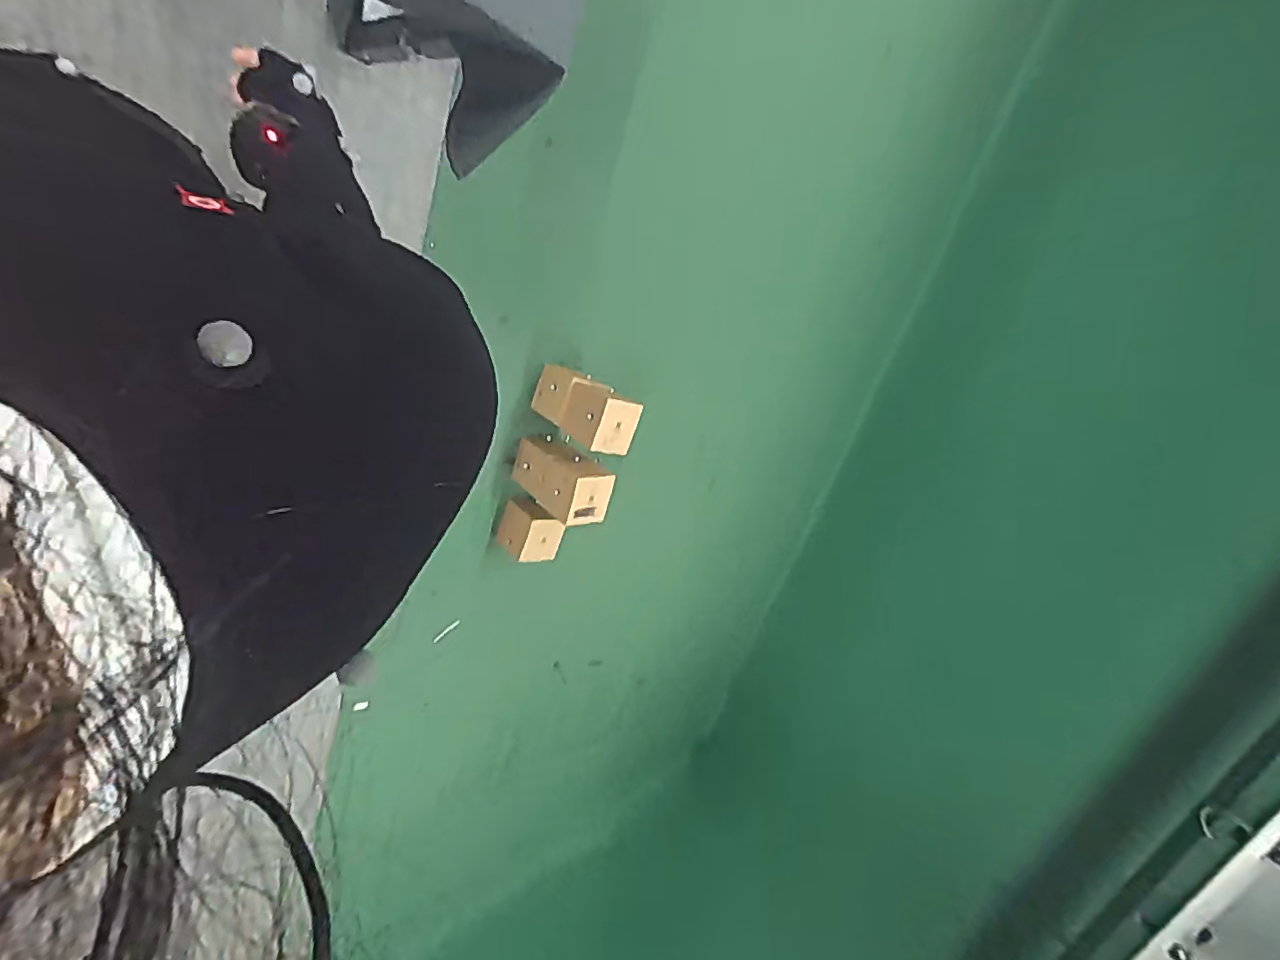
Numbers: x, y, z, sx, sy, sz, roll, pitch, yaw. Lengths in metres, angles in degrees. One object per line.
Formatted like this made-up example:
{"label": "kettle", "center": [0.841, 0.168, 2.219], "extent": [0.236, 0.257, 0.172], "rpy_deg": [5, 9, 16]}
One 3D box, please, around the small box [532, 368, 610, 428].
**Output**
{"label": "small box", "center": [-0.238, -0.270, 1.839], "extent": [0.179, 0.176, 0.168], "rpy_deg": [5, 111, -49]}

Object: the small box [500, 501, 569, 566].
{"label": "small box", "center": [-0.395, 0.196, 1.995], "extent": [0.168, 0.176, 0.179], "rpy_deg": [4, 113, -49]}

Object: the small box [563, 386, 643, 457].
{"label": "small box", "center": [-0.125, -0.191, 1.748], "extent": [0.168, 0.176, 0.179], "rpy_deg": [4, 112, -48]}
